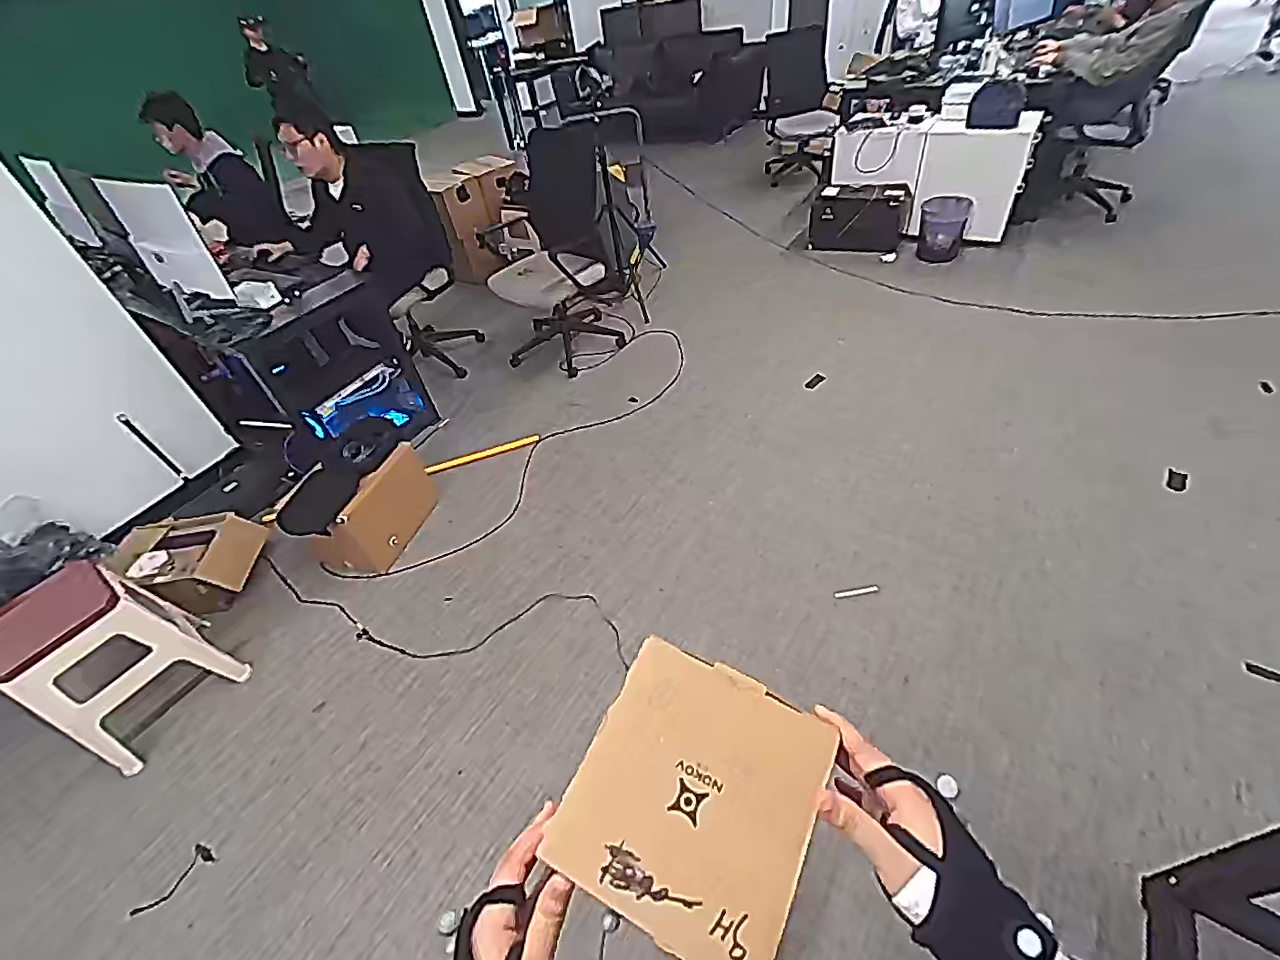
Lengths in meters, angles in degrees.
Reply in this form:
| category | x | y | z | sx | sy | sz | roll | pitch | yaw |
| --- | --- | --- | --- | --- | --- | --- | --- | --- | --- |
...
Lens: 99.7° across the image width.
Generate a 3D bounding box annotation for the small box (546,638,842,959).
| category | x | y | z | sx | sy | sz | roll | pitch | yaw |
| --- | --- | --- | --- | --- | --- | --- | --- | --- | --- |
| small box | 0.047 | 0.272 | 0.457 | 0.168 | 0.176 | 0.179 | 22 | 59 | 19 |
